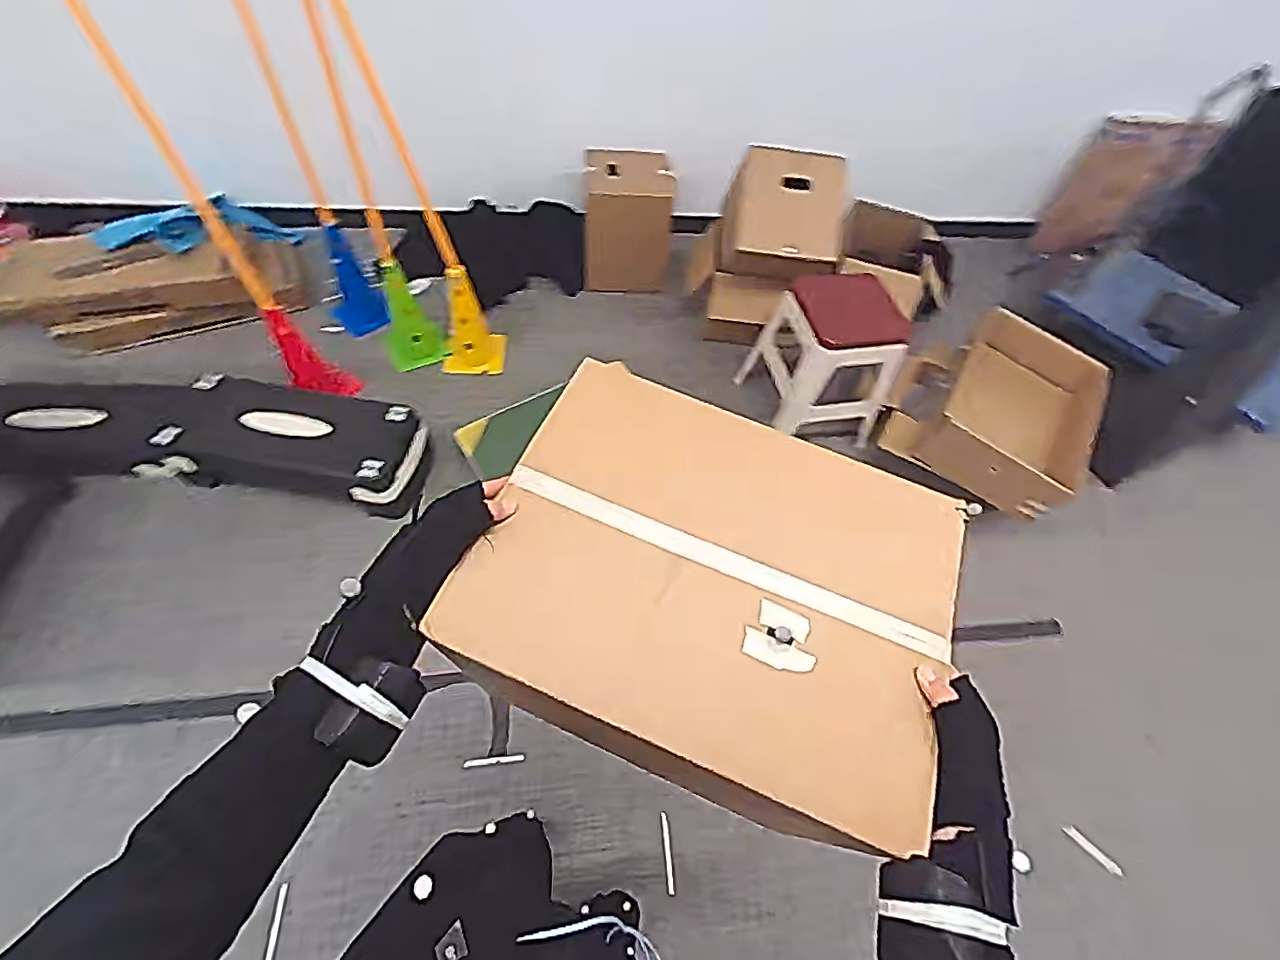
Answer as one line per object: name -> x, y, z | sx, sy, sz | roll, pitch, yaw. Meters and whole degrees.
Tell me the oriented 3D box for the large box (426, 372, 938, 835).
large box -> 0.046, 0.143, 0.615 | 0.408, 0.320, 0.320 | 22, 62, 5
